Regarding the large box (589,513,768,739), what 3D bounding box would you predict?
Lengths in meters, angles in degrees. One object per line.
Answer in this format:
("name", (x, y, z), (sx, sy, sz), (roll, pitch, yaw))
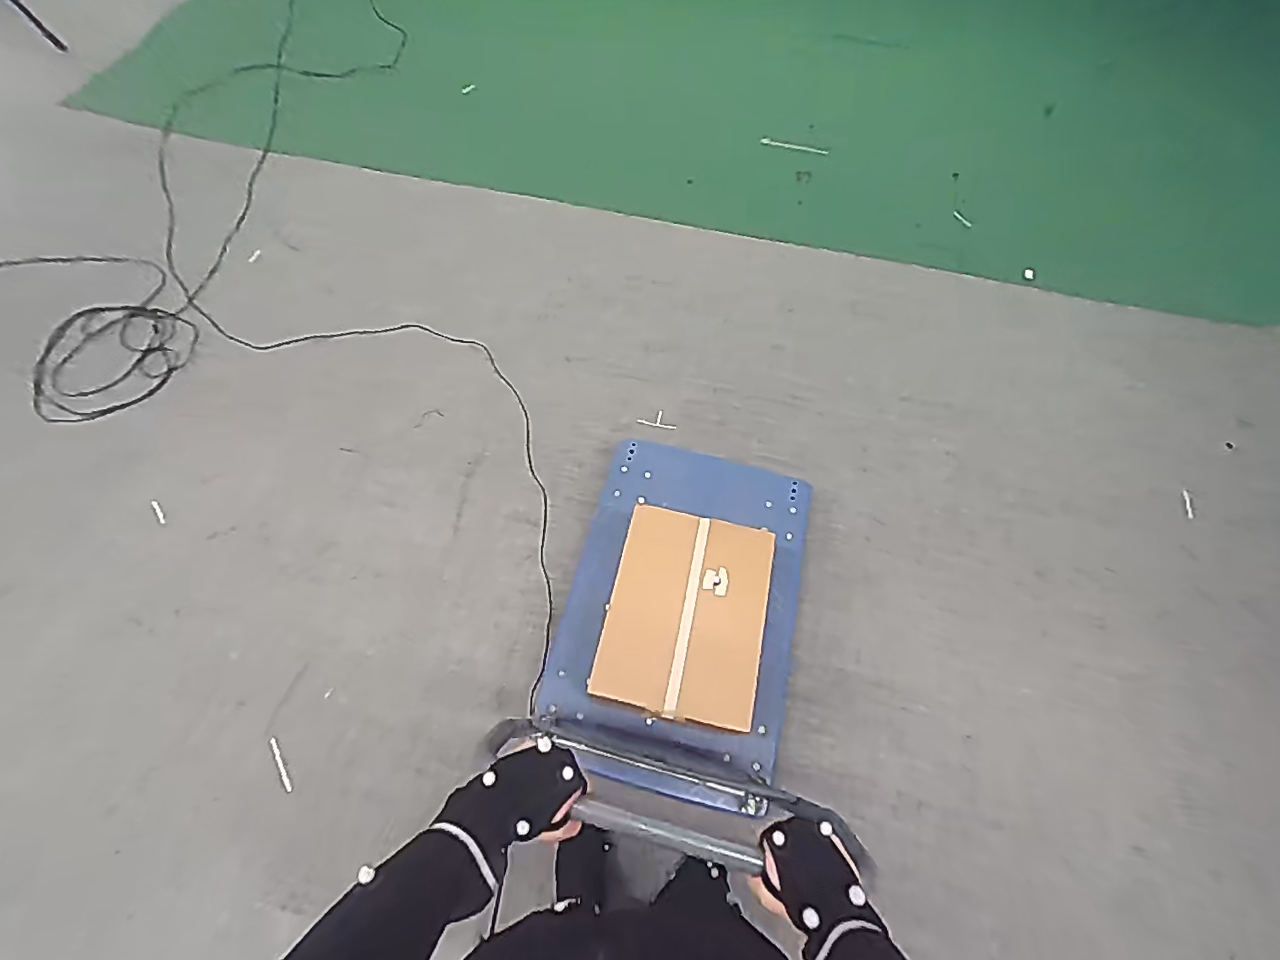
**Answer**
("large box", (0.087, 0.340, 1.229), (0.320, 0.320, 0.408), (12, 64, 4))
